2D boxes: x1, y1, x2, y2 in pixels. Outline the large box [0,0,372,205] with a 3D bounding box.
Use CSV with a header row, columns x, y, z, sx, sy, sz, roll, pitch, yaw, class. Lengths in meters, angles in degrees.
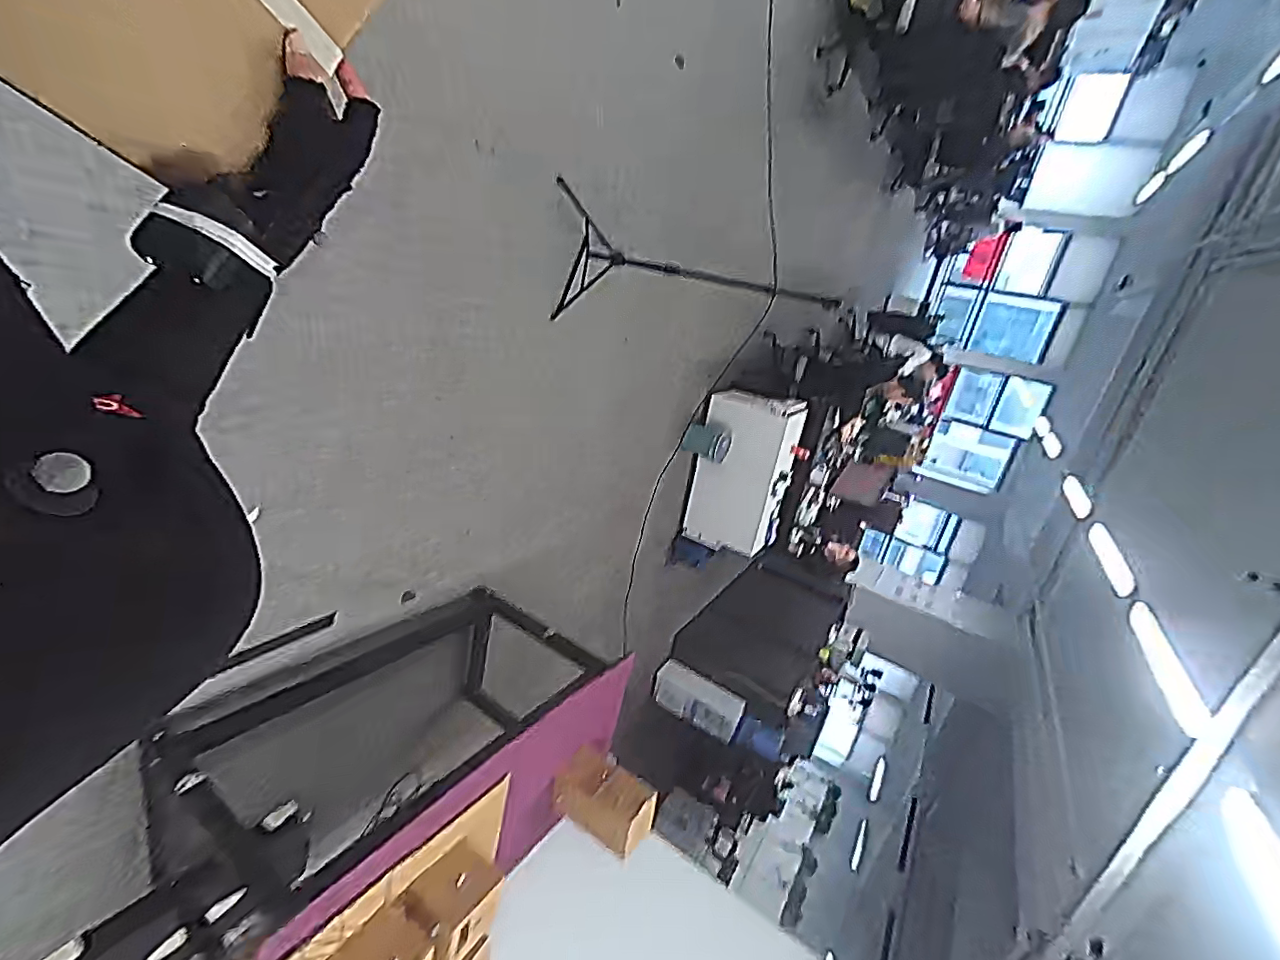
x,y,z,sx,sy,sz,roll,pitch,yaw,class
-0.441,-0.470,0.333,0.320,0.320,0.408,-55,155,0,large box
